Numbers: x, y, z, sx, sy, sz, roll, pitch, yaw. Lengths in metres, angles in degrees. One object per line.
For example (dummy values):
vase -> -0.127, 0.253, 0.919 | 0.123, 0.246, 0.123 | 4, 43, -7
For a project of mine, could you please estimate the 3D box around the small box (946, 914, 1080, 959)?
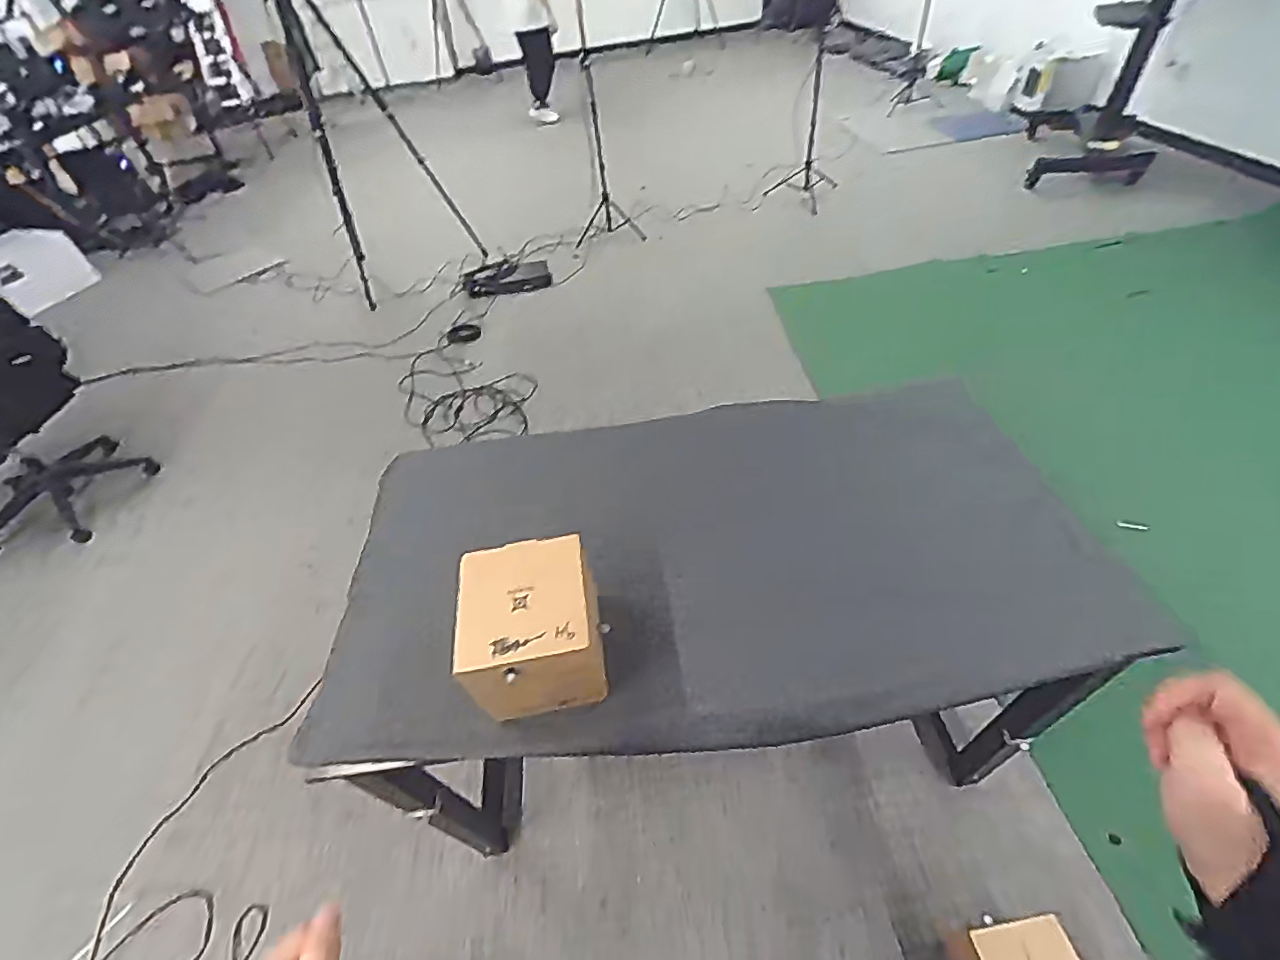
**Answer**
small box -> 0.693, 0.914, 0.976 | 0.168, 0.176, 0.179 | -10, 46, -1

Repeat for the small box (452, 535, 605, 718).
small box -> -0.147, 0.206, 0.757 | 0.168, 0.176, 0.179 | -10, 47, -1
